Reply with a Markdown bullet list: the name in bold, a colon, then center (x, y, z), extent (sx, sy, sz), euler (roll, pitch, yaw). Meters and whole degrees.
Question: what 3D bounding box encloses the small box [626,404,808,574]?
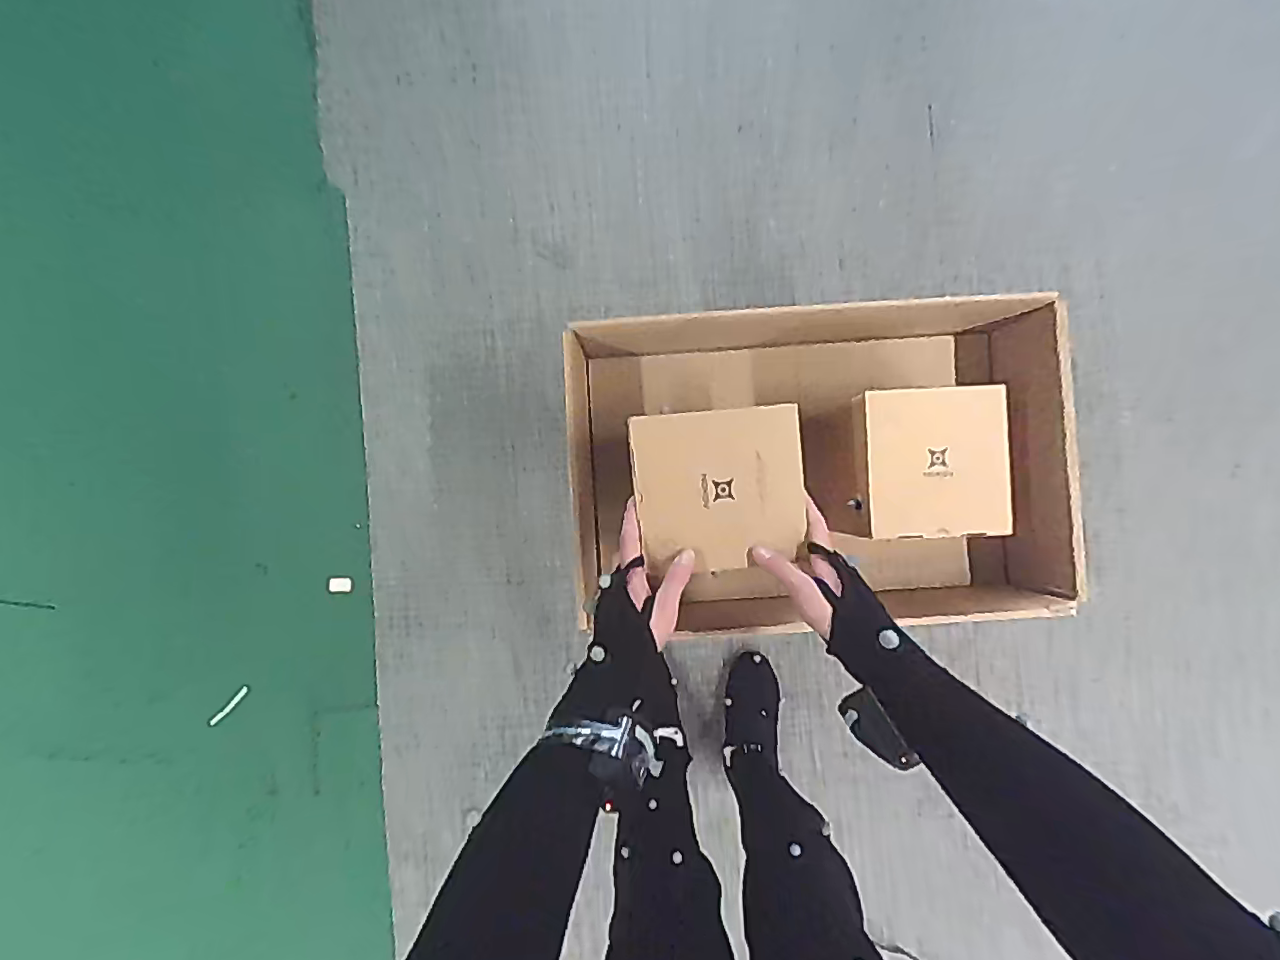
- **small box**: center (0.079, 0.009, 0.625), extent (0.179, 0.176, 0.168), euler (-5, 92, 0)
